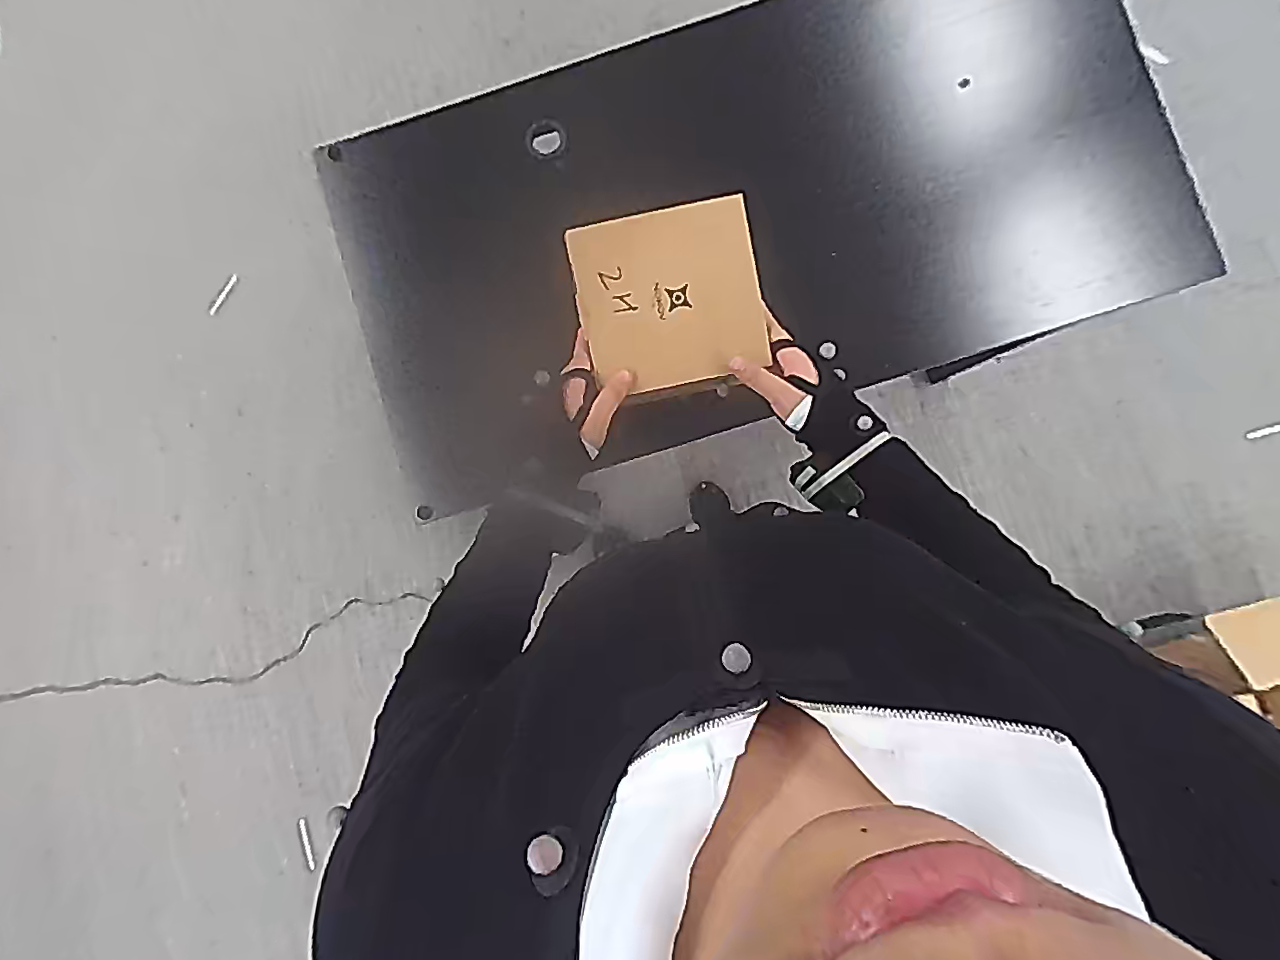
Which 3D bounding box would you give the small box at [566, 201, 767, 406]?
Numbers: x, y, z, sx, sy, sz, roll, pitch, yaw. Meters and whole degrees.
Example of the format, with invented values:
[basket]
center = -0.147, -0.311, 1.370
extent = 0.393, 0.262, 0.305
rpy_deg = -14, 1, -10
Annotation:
[small box]
center = 0.027, -0.181, 0.604
extent = 0.179, 0.176, 0.168
rpy_deg = -11, 94, 1
